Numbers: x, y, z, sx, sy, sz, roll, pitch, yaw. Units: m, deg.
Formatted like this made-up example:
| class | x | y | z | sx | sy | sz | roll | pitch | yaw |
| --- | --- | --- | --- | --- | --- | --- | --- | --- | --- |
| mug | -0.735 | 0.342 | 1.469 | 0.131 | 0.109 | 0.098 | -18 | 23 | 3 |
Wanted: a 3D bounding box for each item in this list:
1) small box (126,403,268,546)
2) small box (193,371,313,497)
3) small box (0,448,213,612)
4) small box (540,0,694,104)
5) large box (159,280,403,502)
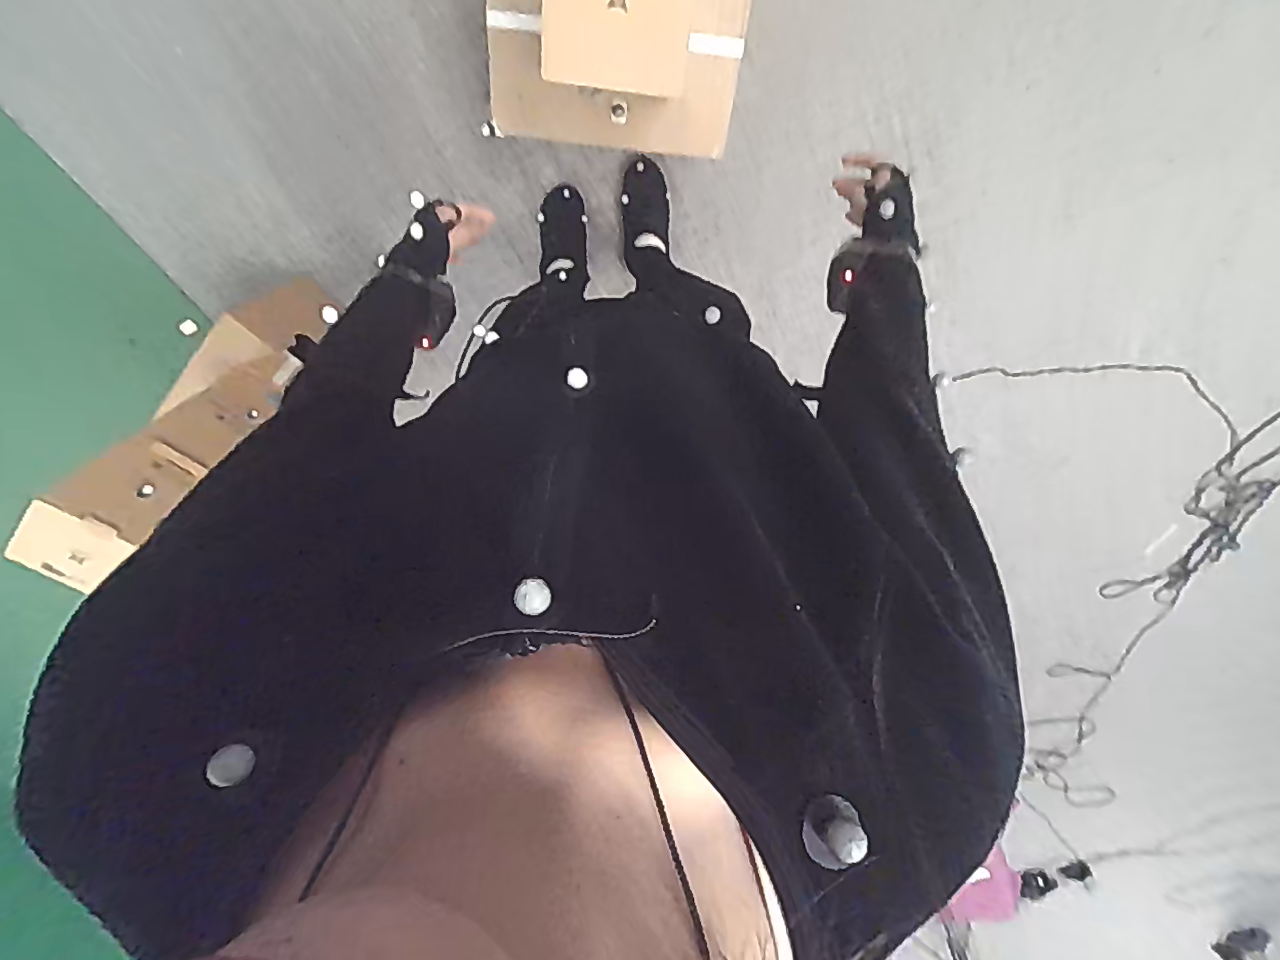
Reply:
| class | x | y | z | sx | sy | sz | roll | pitch | yaw |
| --- | --- | --- | --- | --- | --- | --- | --- | --- | --- |
| small box | -0.860 | -0.015 | 1.034 | 0.179 | 0.176 | 0.168 | -37 | 117 | 23 |
| small box | -0.858 | -0.104 | 1.171 | 0.168 | 0.176 | 0.179 | -36 | 117 | 22 |
| small box | -0.866 | 0.078 | 0.898 | 0.179 | 0.176 | 0.168 | -37 | 116 | 22 |
| small box | -0.021 | -0.561 | 0.641 | 0.168 | 0.176 | 0.179 | 6 | 123 | -3 |
| large box | -0.894 | -0.227 | 1.383 | 0.408 | 0.320 | 0.320 | -36 | 116 | 24 |
